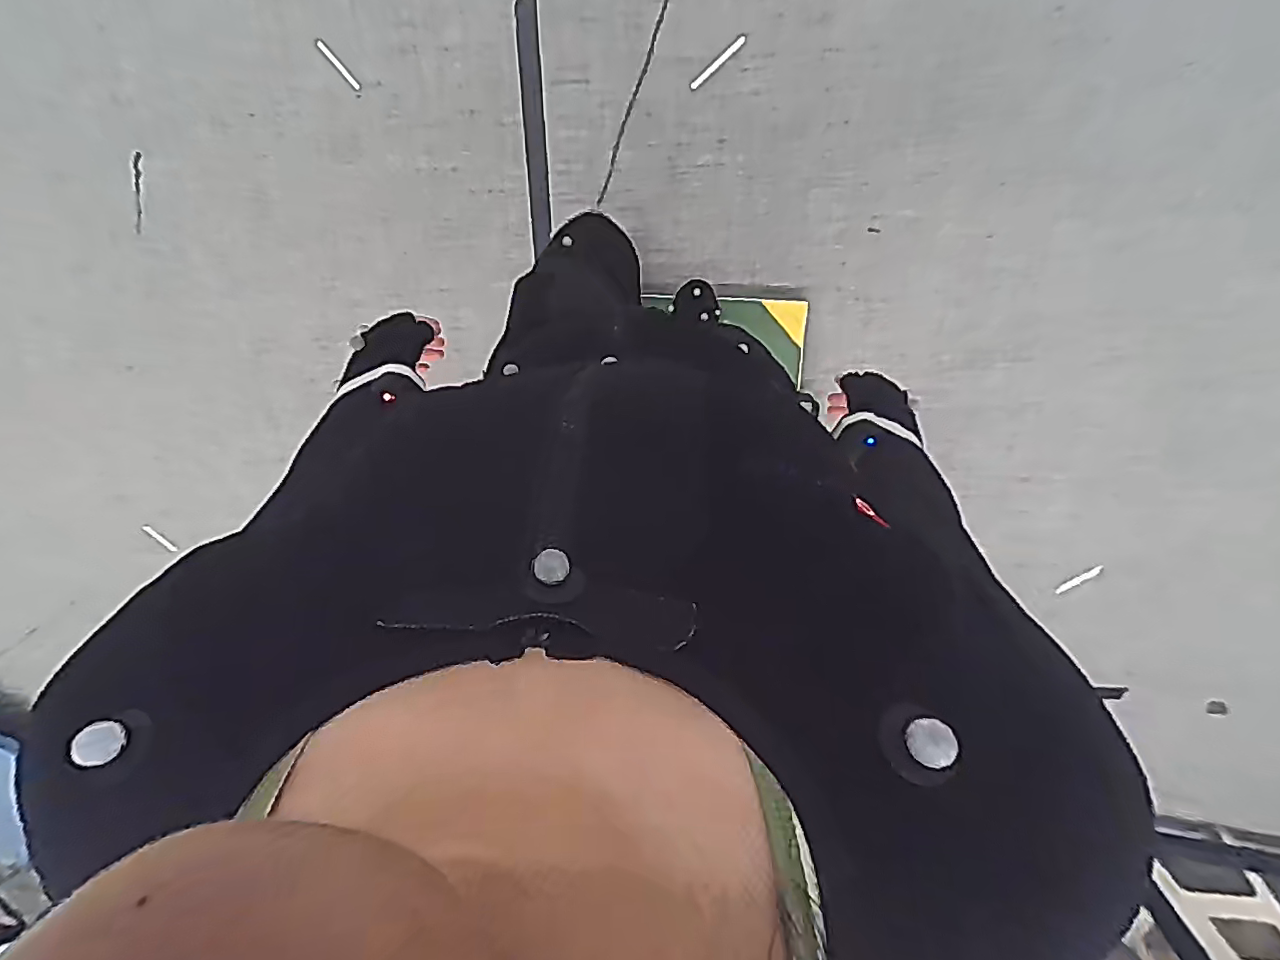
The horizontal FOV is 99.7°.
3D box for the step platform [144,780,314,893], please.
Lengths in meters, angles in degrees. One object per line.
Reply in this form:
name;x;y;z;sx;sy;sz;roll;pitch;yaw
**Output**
step platform;-1.777;1.545;2.333;0.684;0.204;0.286;-26;109;15
